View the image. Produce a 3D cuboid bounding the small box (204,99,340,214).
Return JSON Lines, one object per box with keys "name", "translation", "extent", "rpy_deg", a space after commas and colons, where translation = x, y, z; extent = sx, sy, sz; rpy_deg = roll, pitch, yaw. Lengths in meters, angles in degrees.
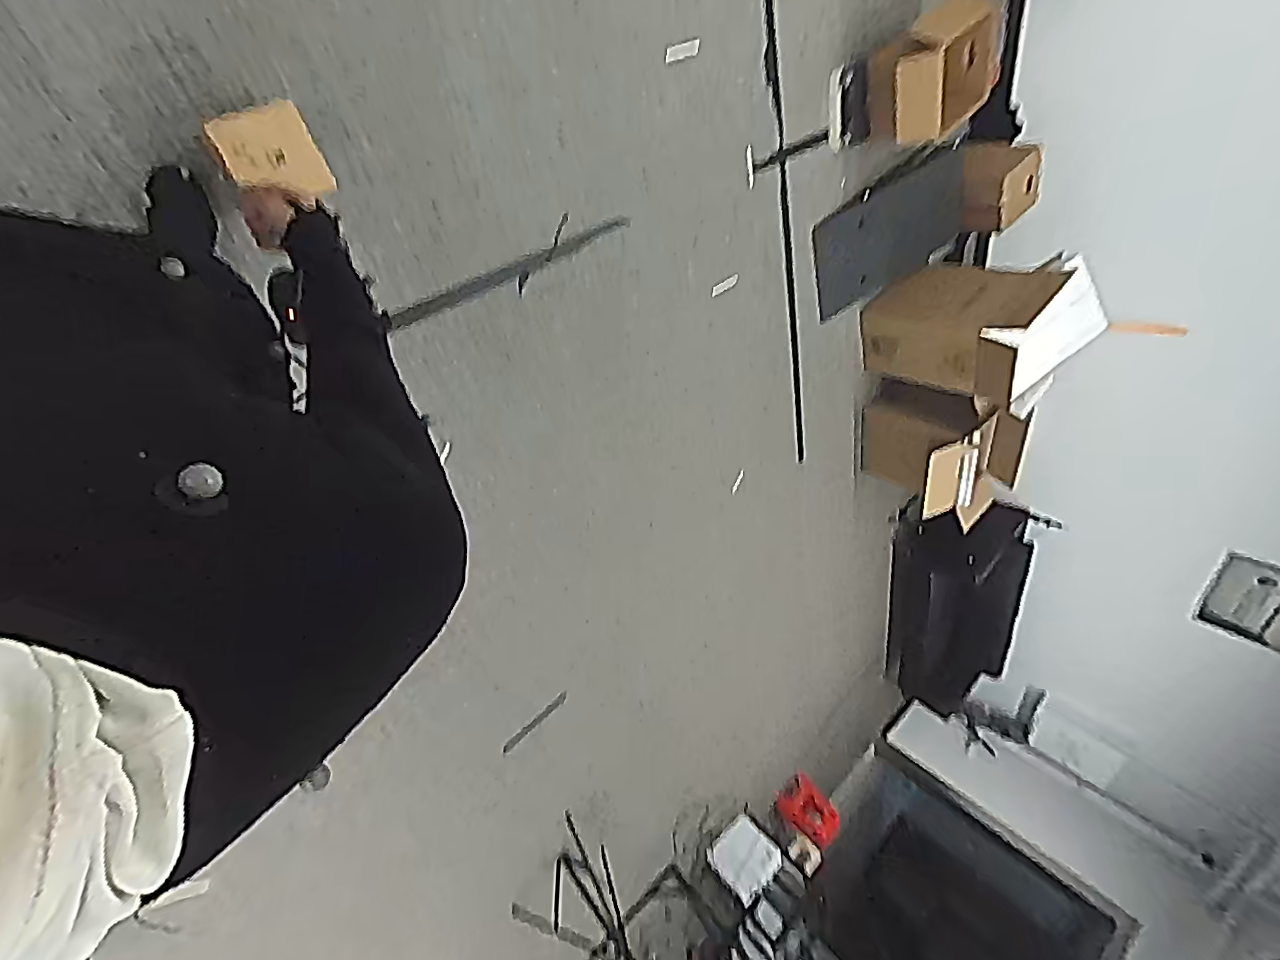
{"name": "small box", "translation": [-0.790, -0.690, 1.159], "extent": [0.179, 0.176, 0.168], "rpy_deg": [-37, 131, -22]}
